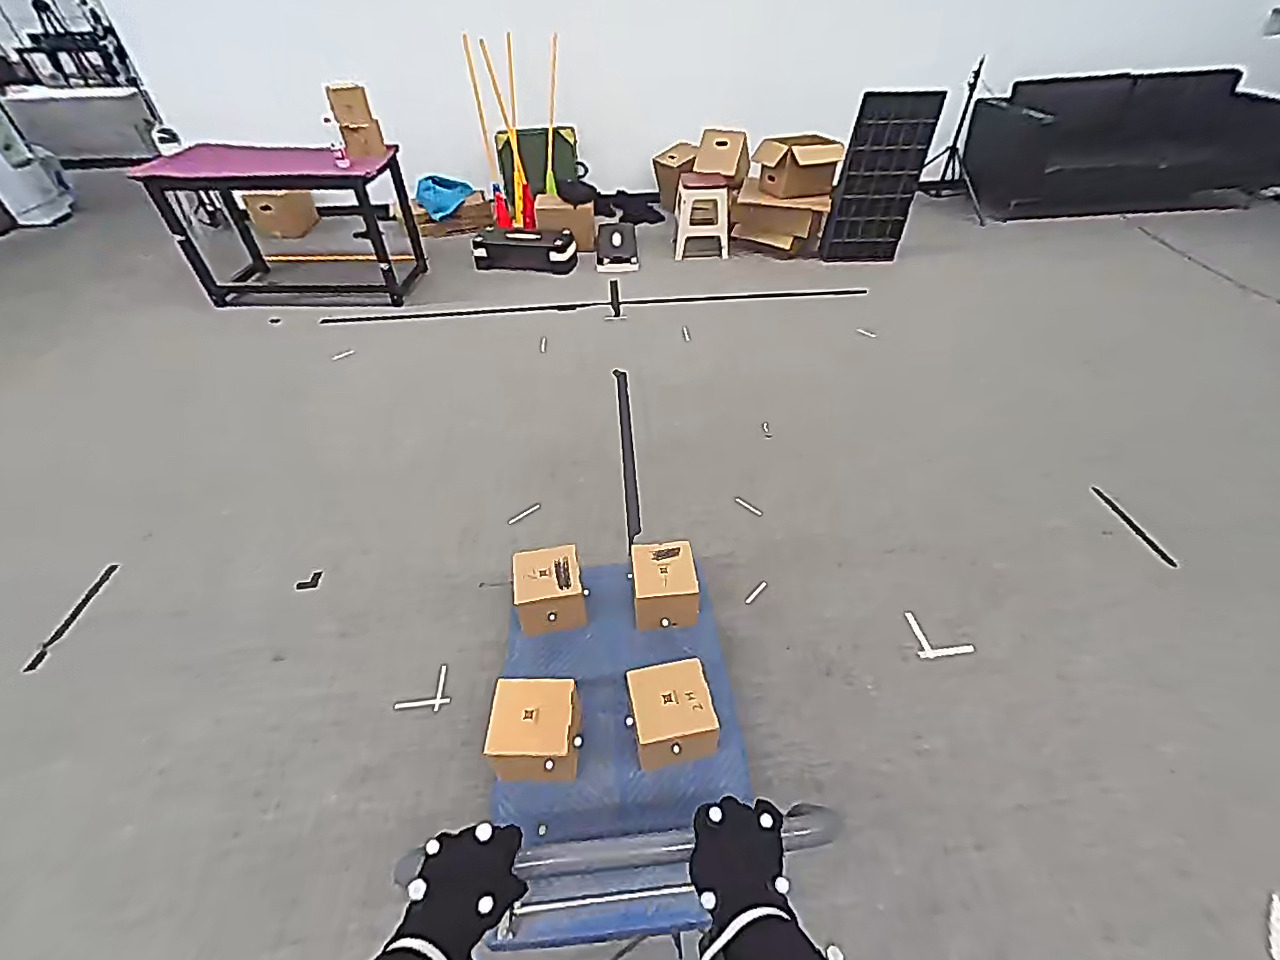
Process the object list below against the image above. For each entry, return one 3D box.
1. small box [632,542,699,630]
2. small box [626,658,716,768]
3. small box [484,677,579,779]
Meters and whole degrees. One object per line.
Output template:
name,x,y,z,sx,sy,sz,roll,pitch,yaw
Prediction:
small box,0.065,0.296,1.508,0.168,0.176,0.179,-4,45,-3
small box,0.068,0.542,1.252,0.179,0.176,0.168,-8,44,-7
small box,-0.237,0.567,1.233,0.179,0.176,0.168,1,43,0
